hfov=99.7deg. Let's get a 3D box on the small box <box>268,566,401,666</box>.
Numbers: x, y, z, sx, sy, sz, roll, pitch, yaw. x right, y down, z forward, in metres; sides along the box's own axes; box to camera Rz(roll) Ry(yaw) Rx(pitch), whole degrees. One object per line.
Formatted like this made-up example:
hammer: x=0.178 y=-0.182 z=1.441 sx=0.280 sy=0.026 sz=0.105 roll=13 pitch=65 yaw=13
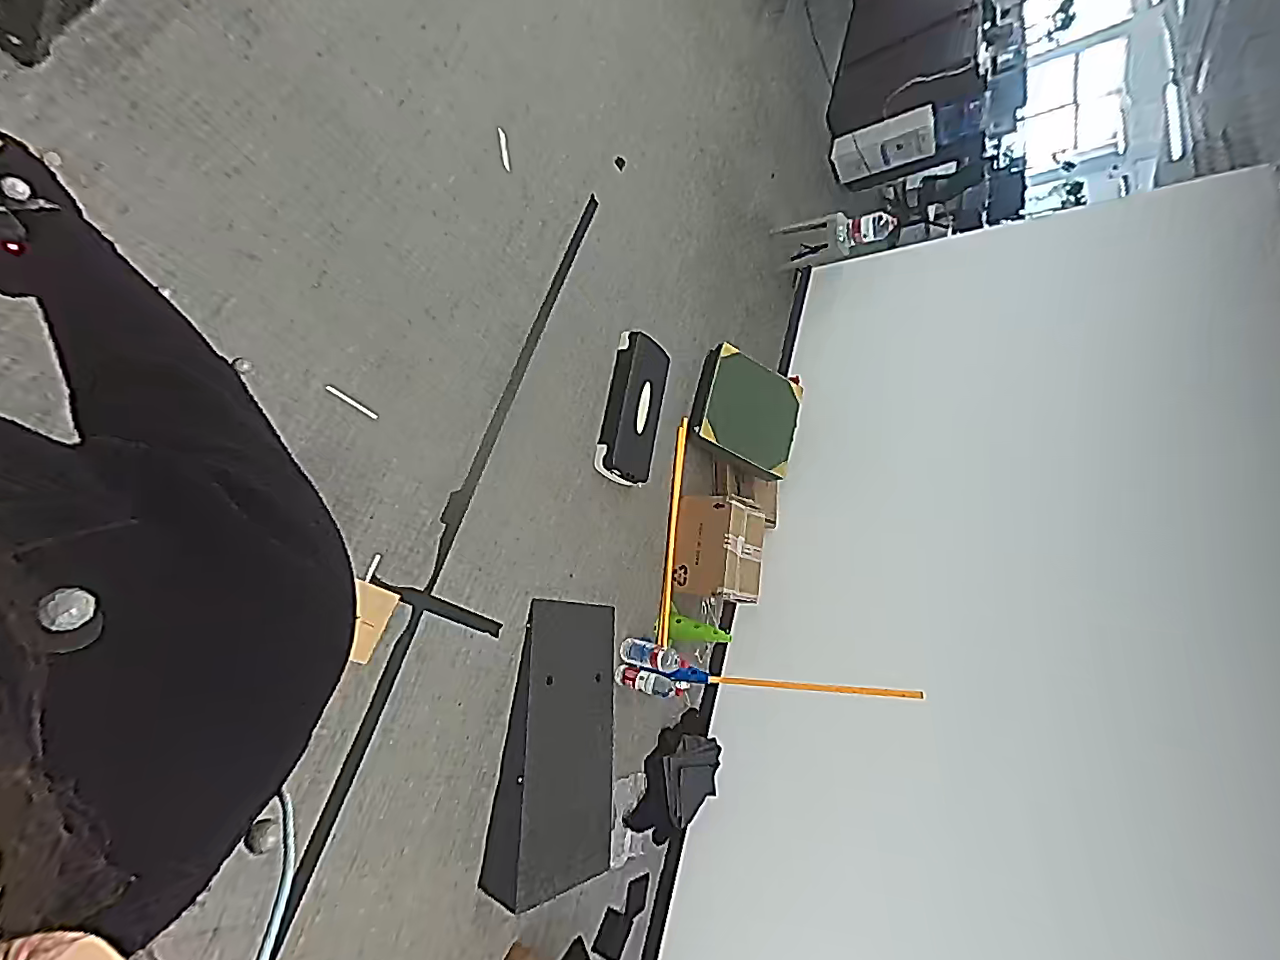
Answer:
small box: x=-0.692 y=0.303 z=1.223 sx=0.179 sy=0.176 sz=0.168 roll=44 pitch=58 yaw=-45
